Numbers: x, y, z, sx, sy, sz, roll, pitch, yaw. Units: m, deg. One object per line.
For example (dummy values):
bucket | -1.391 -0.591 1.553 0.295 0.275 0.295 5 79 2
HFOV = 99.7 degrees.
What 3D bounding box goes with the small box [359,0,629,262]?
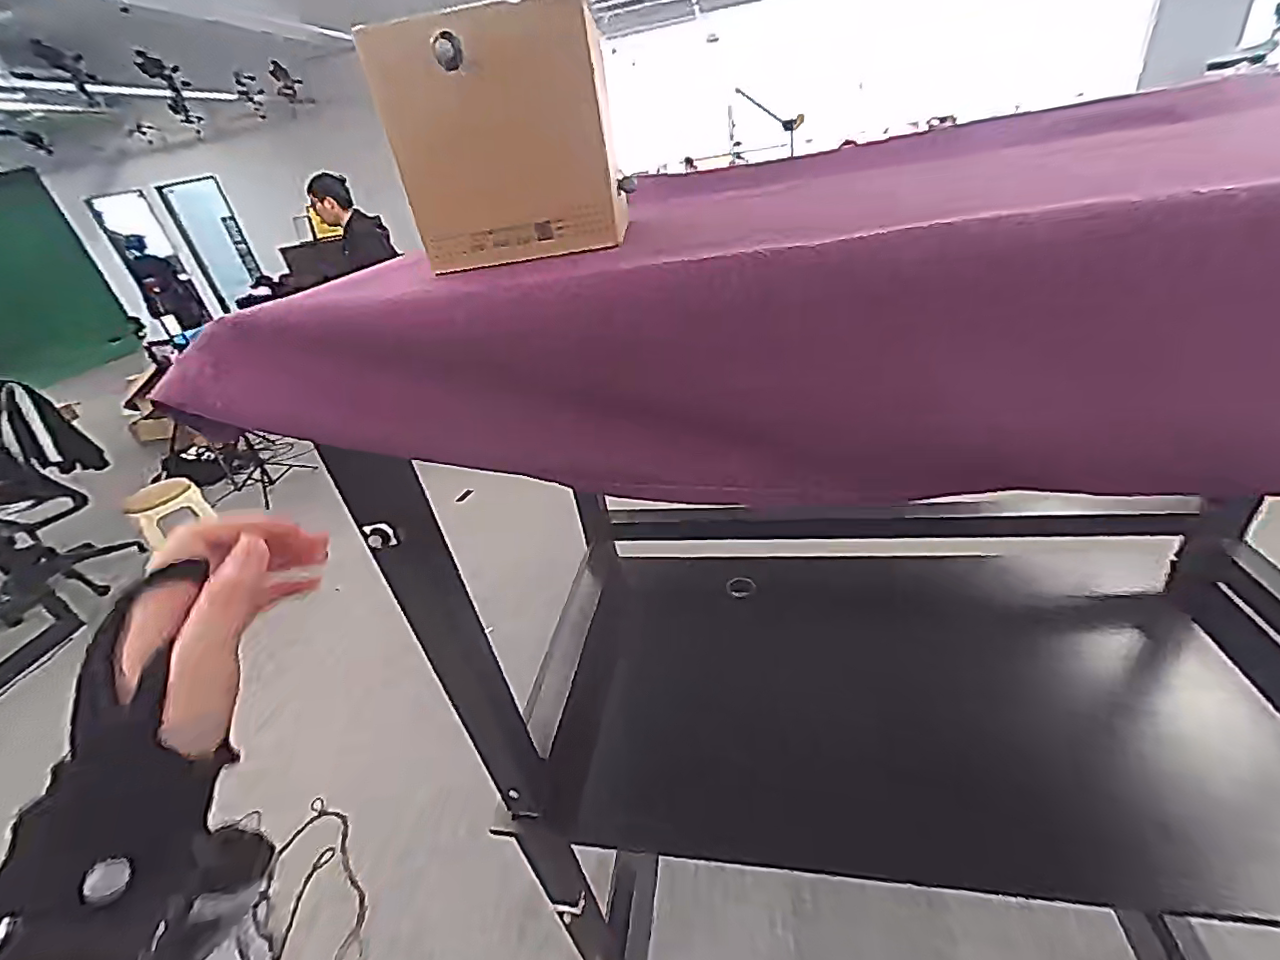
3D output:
small box | -0.104 -0.300 0.480 0.168 0.176 0.179 -7 31 5
